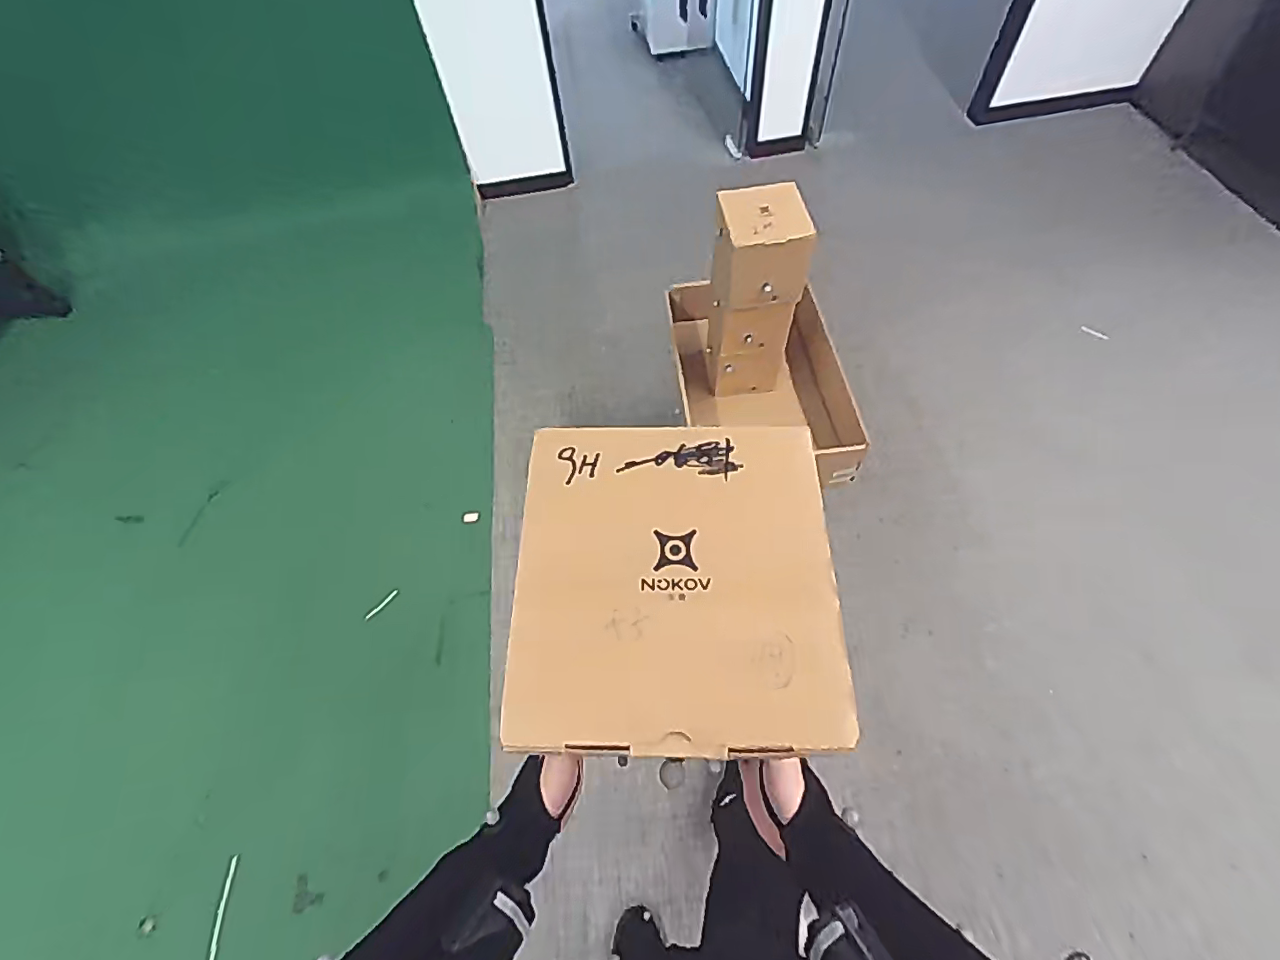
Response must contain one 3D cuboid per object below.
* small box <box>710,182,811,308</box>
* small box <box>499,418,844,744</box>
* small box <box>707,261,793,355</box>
[{"bbox_3d":[0.246,-0.497,1.153,0.168,0.176,0.179,-8,61,0],"label":"small box"},{"bbox_3d":[0.019,0.077,0.359,0.168,0.176,0.179,0,63,2],"label":"small box"},{"bbox_3d":[0.256,-0.429,1.304,0.168,0.176,0.179,-7,61,1],"label":"small box"}]
